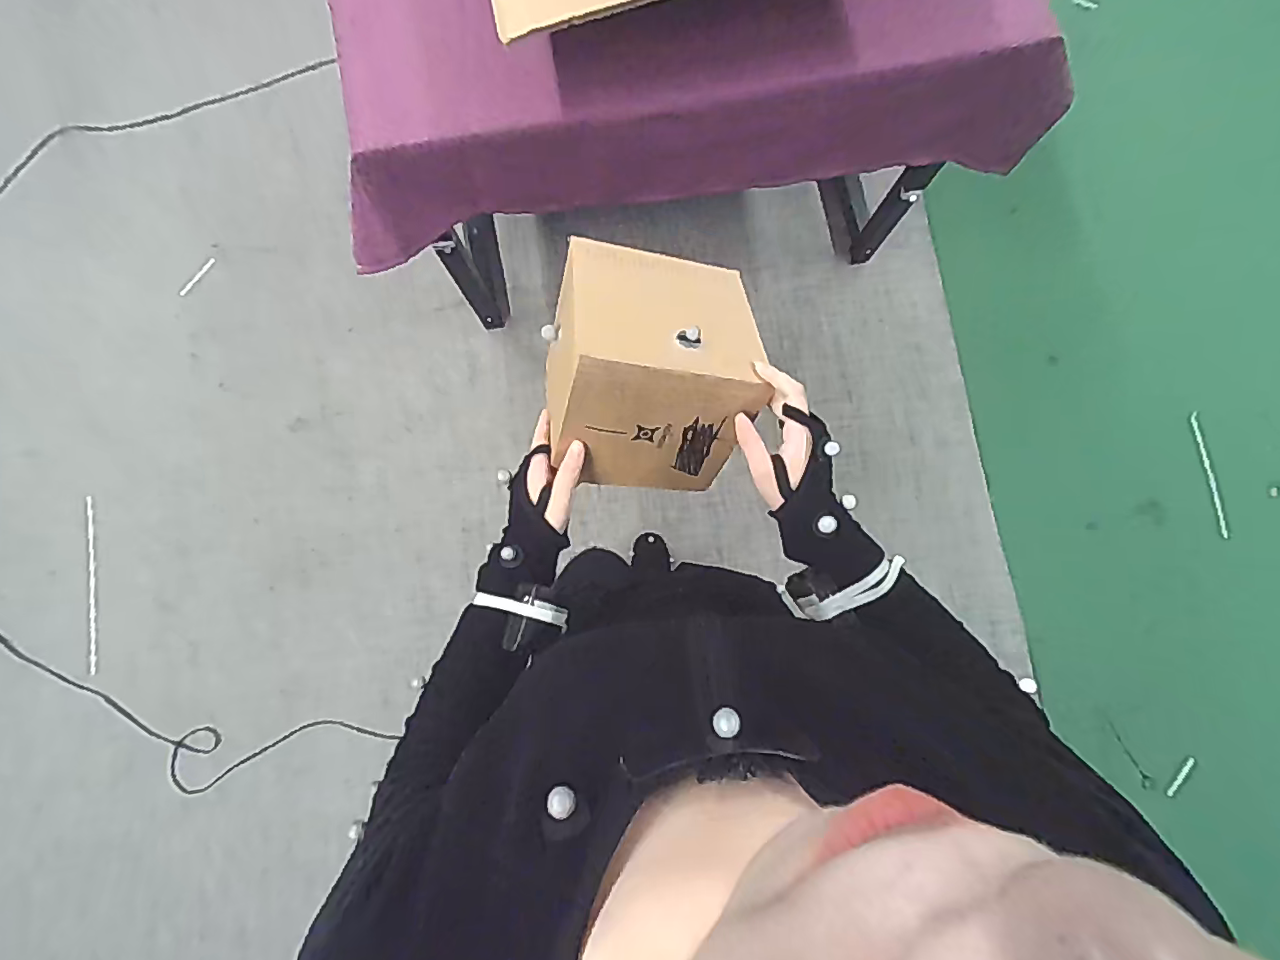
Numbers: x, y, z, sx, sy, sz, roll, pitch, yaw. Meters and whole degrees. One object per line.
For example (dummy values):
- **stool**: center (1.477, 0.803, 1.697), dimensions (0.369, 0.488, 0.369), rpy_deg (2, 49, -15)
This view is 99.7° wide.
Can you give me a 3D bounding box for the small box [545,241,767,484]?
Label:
- **small box**: center (0.001, -0.115, 0.552), dimensions (0.179, 0.168, 0.176), rpy_deg (5, 53, -15)
